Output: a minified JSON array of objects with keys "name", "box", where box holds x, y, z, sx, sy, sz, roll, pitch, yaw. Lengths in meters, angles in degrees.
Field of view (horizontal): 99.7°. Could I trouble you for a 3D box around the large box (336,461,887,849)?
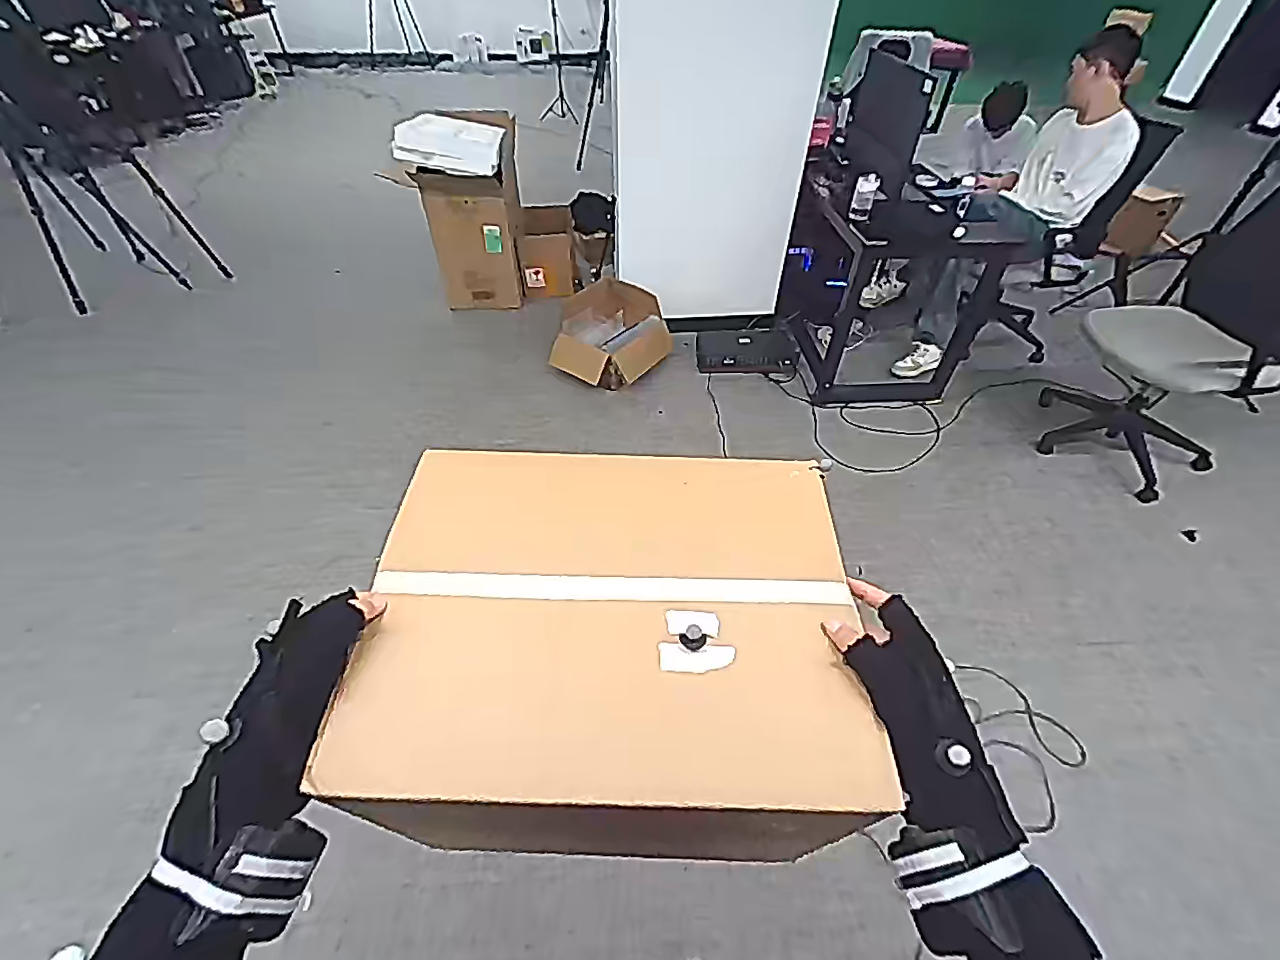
[{"name":"large box","box":[-0.022,0.197,0.591,0.408,0.320,0.320,2,50,0]}]
